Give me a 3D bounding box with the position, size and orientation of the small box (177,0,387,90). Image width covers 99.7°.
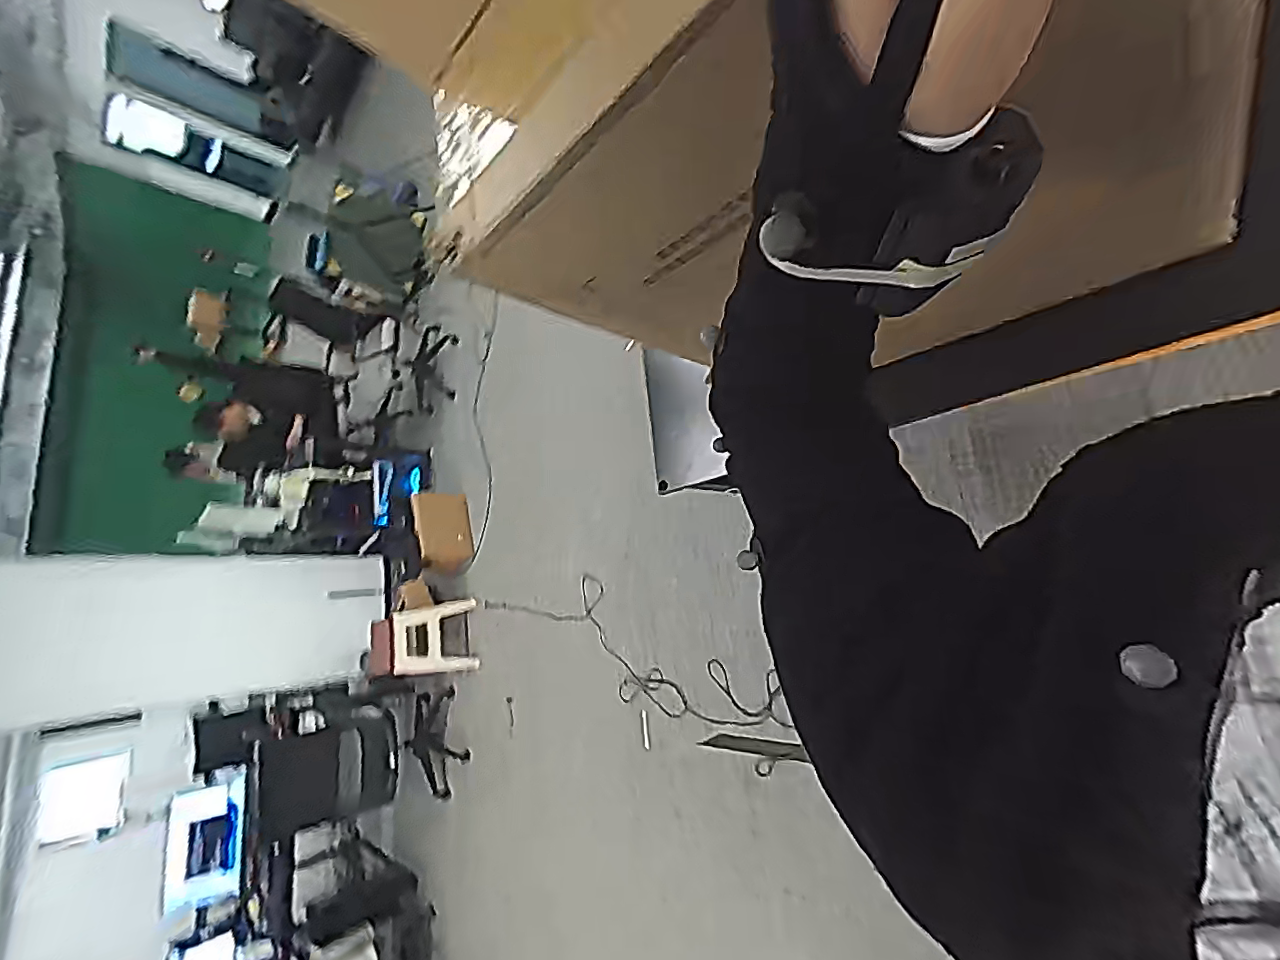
[{"bbox_3d":[-0.256,-0.421,0.358,0.179,0.176,0.168,-17,73,42],"label":"small box"}]
